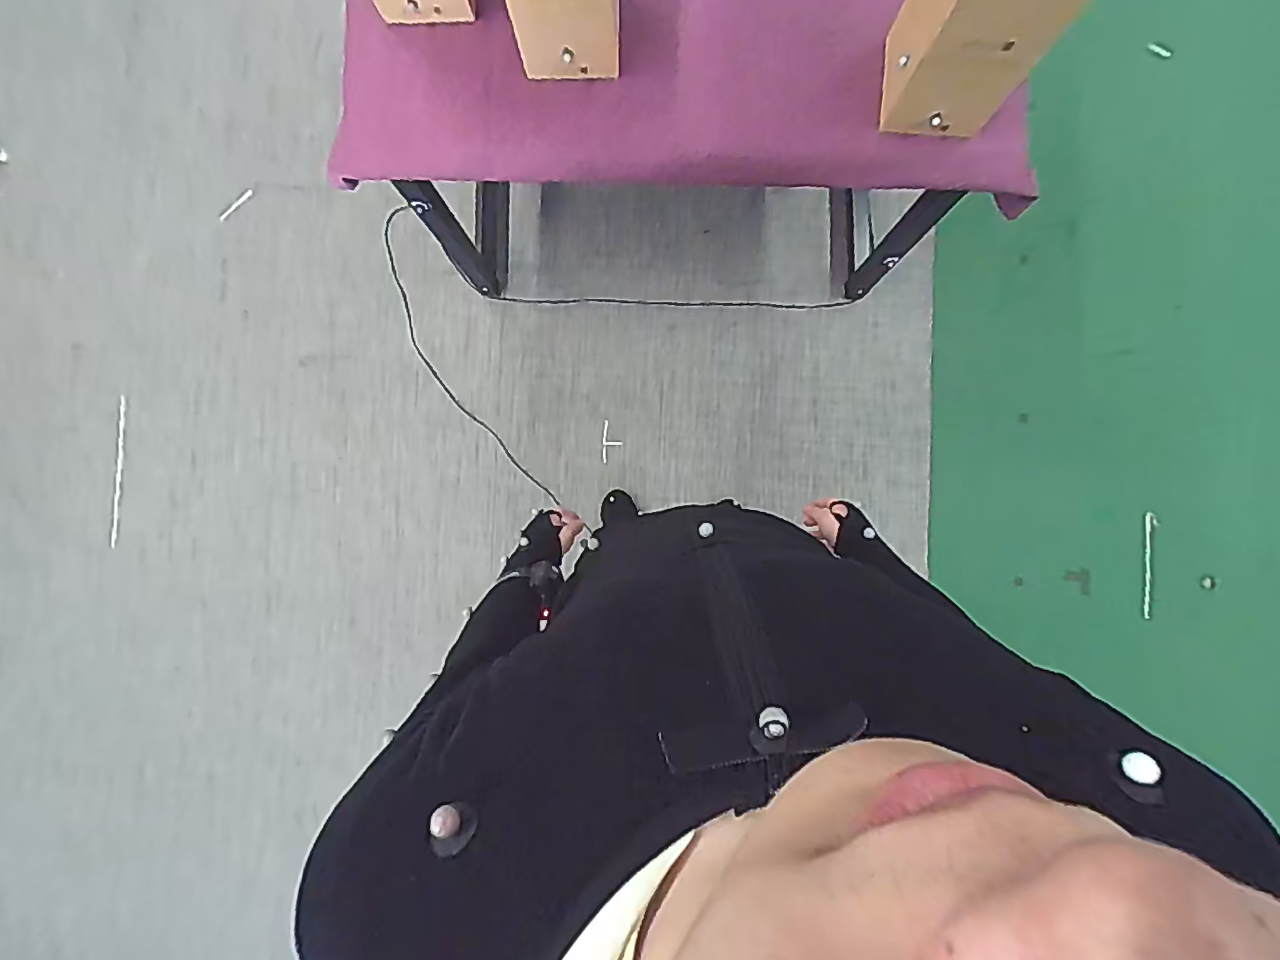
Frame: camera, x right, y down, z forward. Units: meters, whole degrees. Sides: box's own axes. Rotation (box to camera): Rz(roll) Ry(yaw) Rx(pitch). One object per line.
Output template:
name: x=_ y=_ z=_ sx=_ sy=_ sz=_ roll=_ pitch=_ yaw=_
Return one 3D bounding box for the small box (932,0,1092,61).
small box: x=0.504 y=-0.700 z=0.701 sx=0.168 sy=0.176 sz=0.179 roll=6 pitch=86 yaw=3

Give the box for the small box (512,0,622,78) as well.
small box: x=-0.117 y=-0.809 z=0.886 sx=0.168 sy=0.176 sz=0.179 roll=1 pitch=88 yaw=2

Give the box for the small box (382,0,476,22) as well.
small box: x=-0.377 y=-0.916 z=0.897 sx=0.168 sy=0.176 sz=0.179 roll=-1 pitch=88 yaw=2
